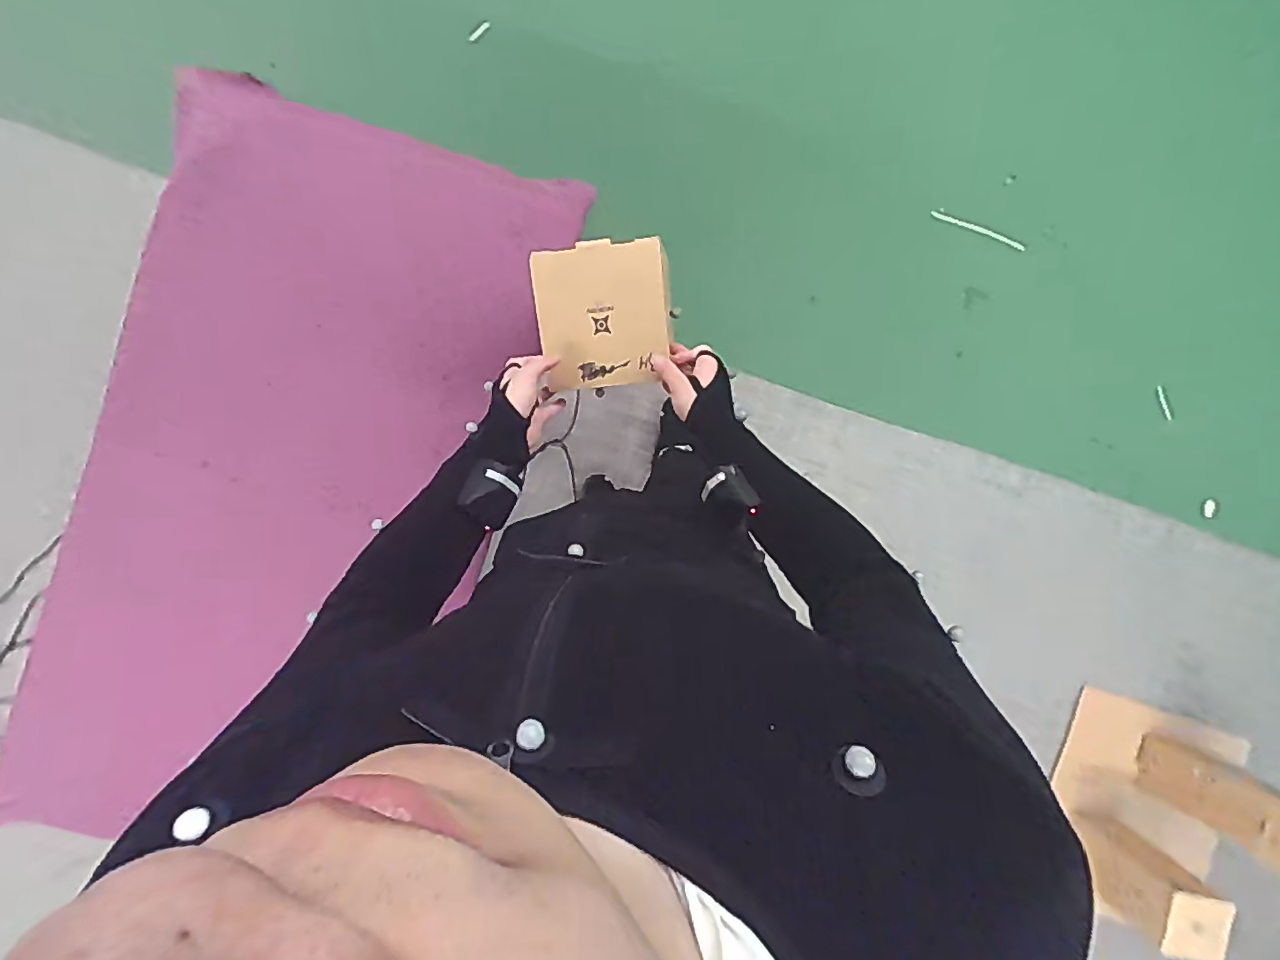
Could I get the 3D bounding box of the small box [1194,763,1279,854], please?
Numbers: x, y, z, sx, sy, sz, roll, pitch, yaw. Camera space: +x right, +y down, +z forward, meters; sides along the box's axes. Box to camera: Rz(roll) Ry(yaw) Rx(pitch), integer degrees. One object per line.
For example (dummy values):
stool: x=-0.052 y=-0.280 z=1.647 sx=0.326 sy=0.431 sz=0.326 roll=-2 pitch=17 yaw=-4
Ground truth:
small box: x=1.697 y=0.911 z=1.485 sx=0.179 sy=0.176 sz=0.168 roll=15 pitch=90 yaw=-4

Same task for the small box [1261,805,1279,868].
small box: x=1.706 y=0.920 z=1.324 sx=0.179 sy=0.176 sz=0.168 roll=15 pitch=90 yaw=-4

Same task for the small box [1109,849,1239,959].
small box: x=1.439 y=1.148 z=1.471 sx=0.179 sy=0.176 sz=0.168 roll=12 pitch=92 yaw=-3

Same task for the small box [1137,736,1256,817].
small box: x=1.688 y=0.907 z=1.648 sx=0.179 sy=0.176 sz=0.168 roll=11 pitch=91 yaw=-3

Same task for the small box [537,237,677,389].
small box: x=-0.035 y=-0.225 z=0.755 sx=0.168 sy=0.176 sz=0.179 roll=-3 pitch=105 yaw=7
